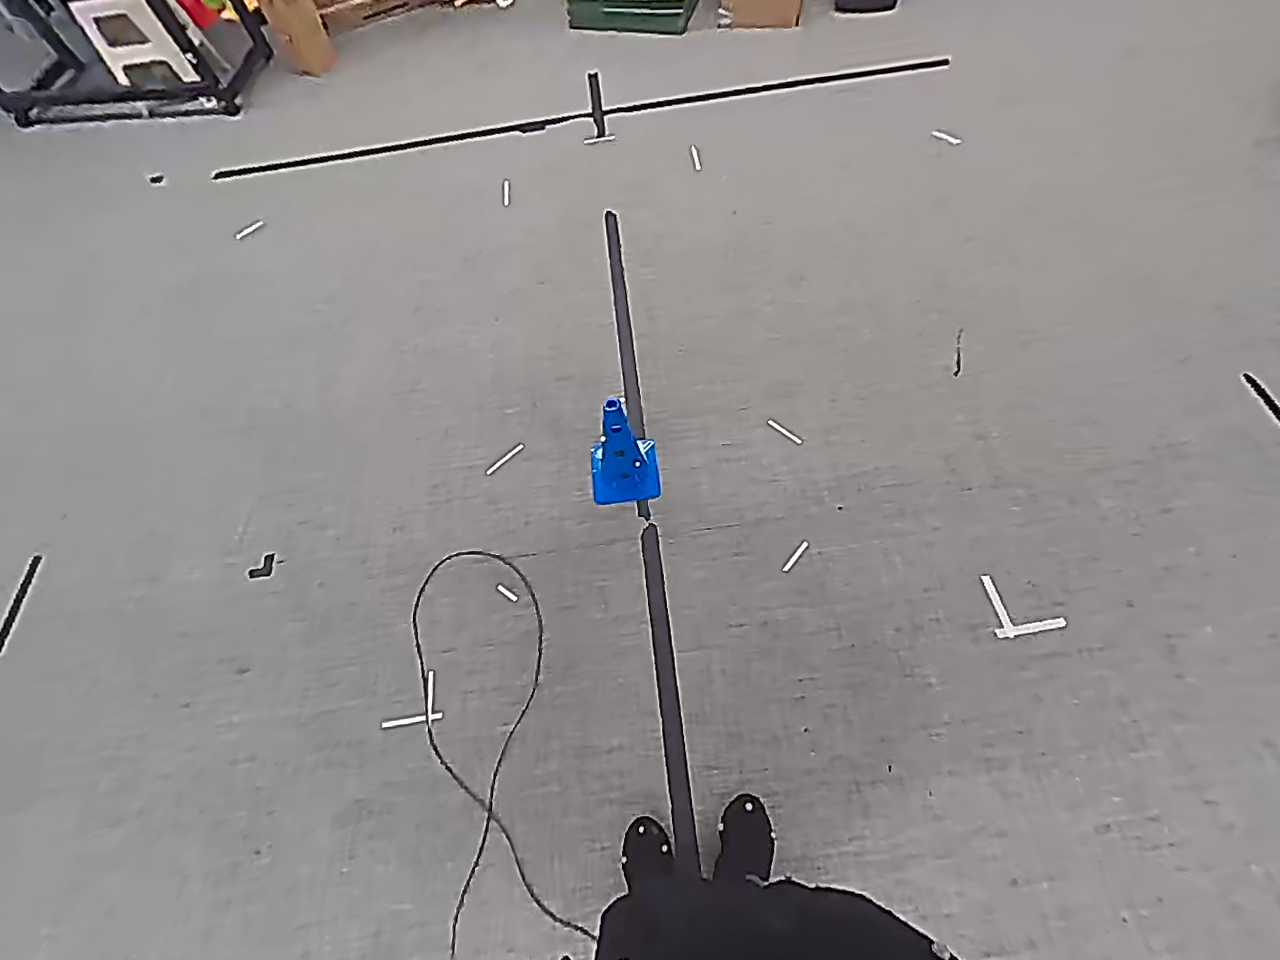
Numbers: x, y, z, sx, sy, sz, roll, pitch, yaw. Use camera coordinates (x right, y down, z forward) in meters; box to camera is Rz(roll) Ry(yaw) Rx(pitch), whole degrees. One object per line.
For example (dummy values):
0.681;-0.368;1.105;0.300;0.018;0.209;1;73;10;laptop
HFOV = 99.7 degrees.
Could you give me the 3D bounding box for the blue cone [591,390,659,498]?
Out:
-0.058;-0.111;1.444;0.193;0.380;0.192;-9;64;1;blue cone
